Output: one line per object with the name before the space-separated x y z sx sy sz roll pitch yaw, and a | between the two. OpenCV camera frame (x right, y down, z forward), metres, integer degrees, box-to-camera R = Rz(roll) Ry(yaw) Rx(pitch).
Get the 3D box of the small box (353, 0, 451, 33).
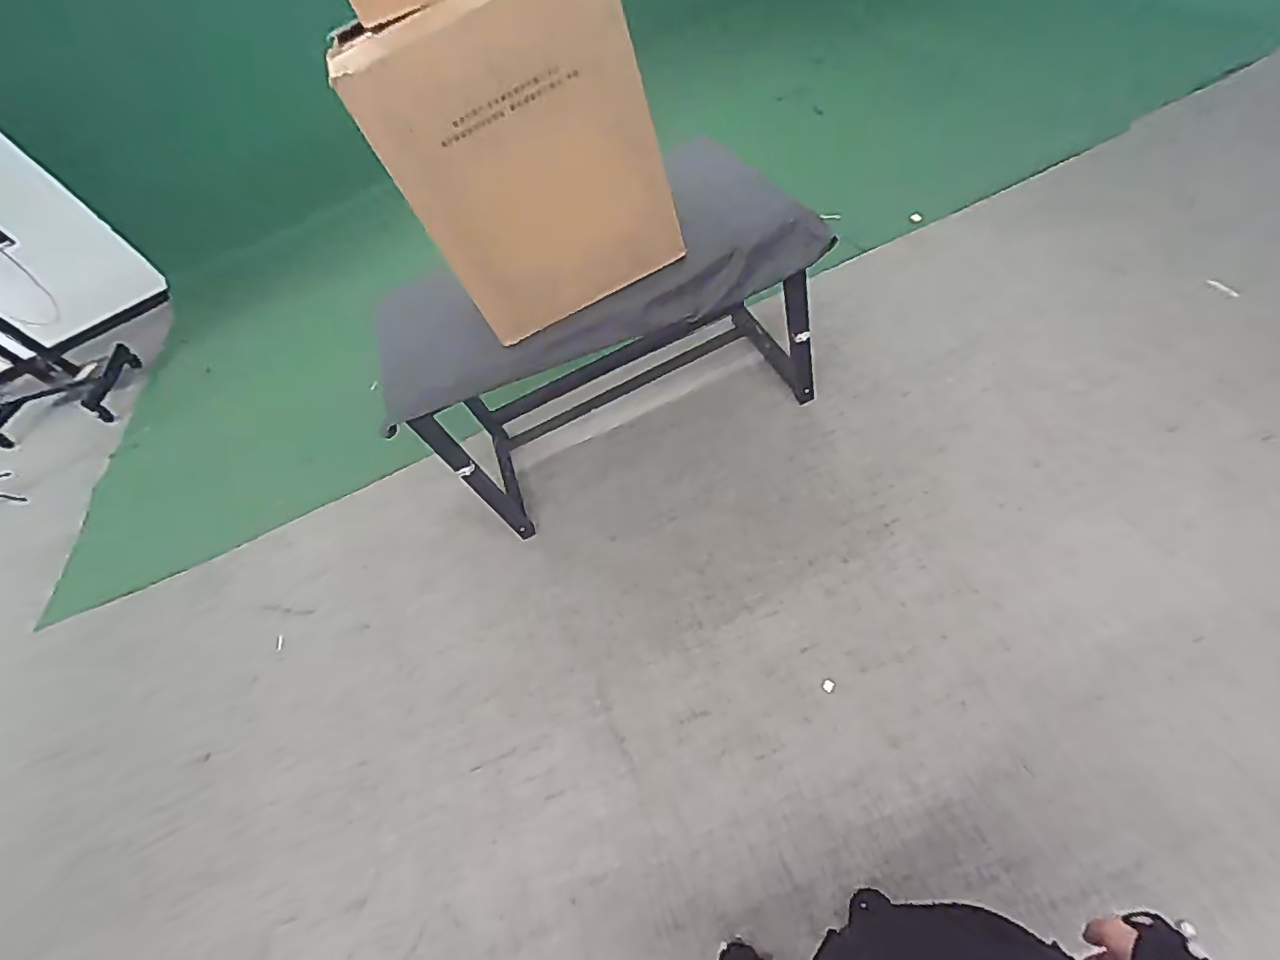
small box | -0.450 -0.952 0.968 0.179 0.176 0.168 -15 61 9
